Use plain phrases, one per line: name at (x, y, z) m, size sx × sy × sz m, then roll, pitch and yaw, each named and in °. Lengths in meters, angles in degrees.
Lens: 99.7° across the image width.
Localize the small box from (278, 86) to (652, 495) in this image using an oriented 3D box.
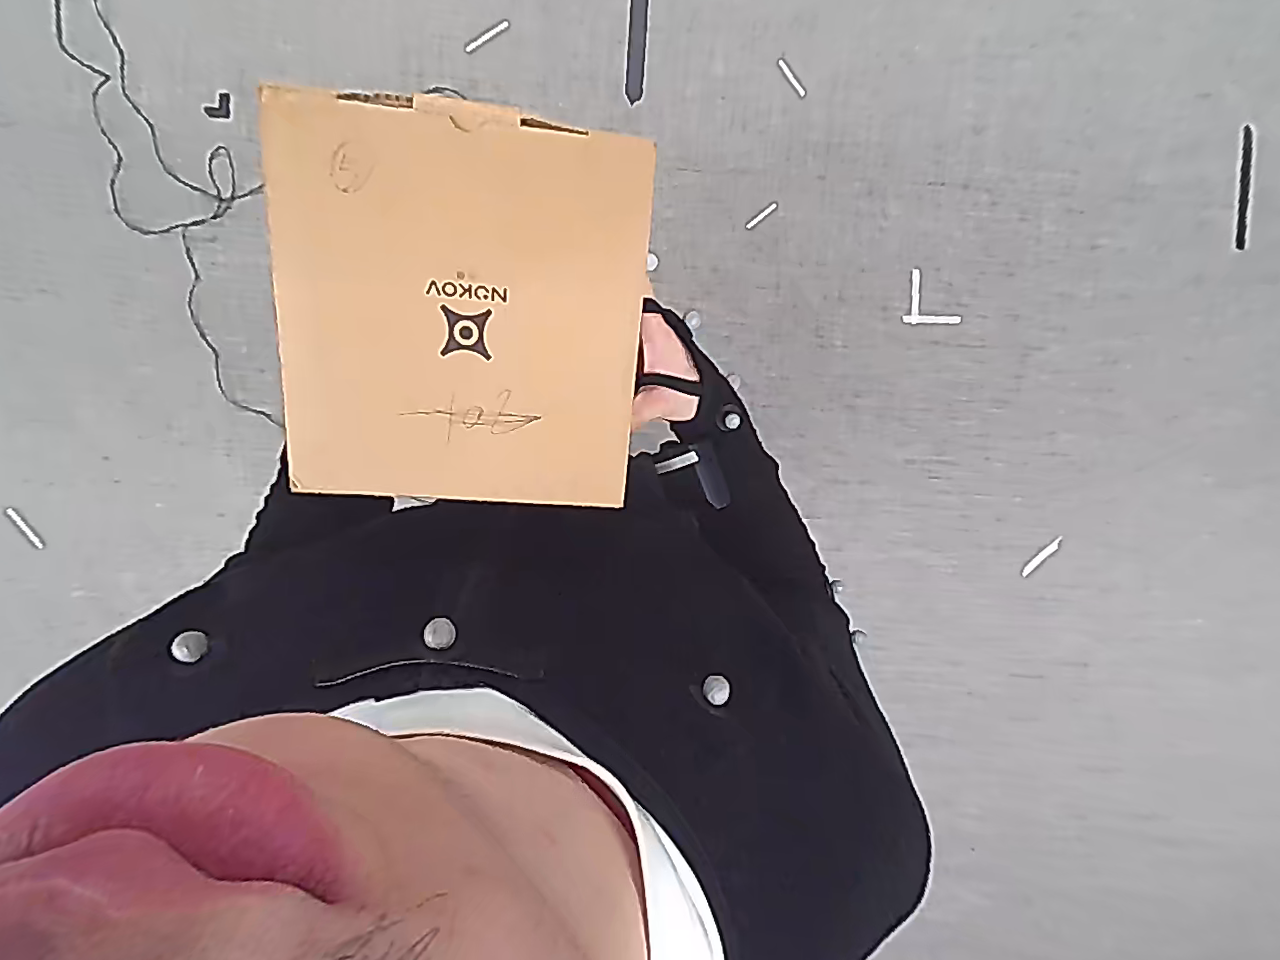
small box at (-0.094, -0.103, 0.341) m, size 0.168 × 0.176 × 0.179 m, roll 4°, pitch 107°, yaw -8°
